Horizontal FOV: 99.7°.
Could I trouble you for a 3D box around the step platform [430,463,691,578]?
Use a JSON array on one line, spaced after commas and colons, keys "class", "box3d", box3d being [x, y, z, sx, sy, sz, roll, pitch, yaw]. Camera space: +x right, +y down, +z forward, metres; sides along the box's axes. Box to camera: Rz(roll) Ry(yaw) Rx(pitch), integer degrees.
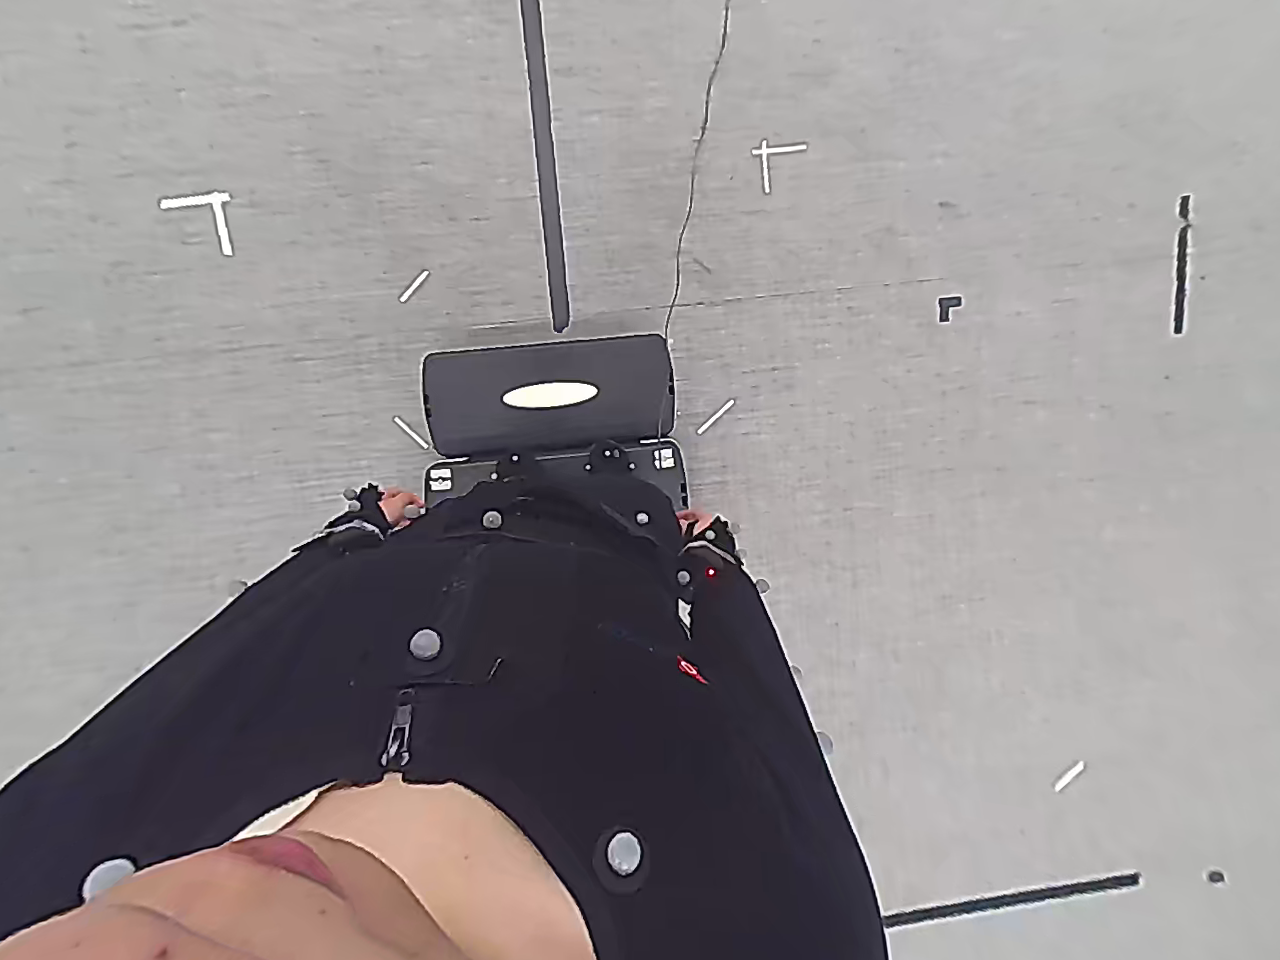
[{"class": "step platform", "box3d": [-0.204, 0.106, 1.462, 0.684, 0.204, 0.286, -1, 94, -2]}]
